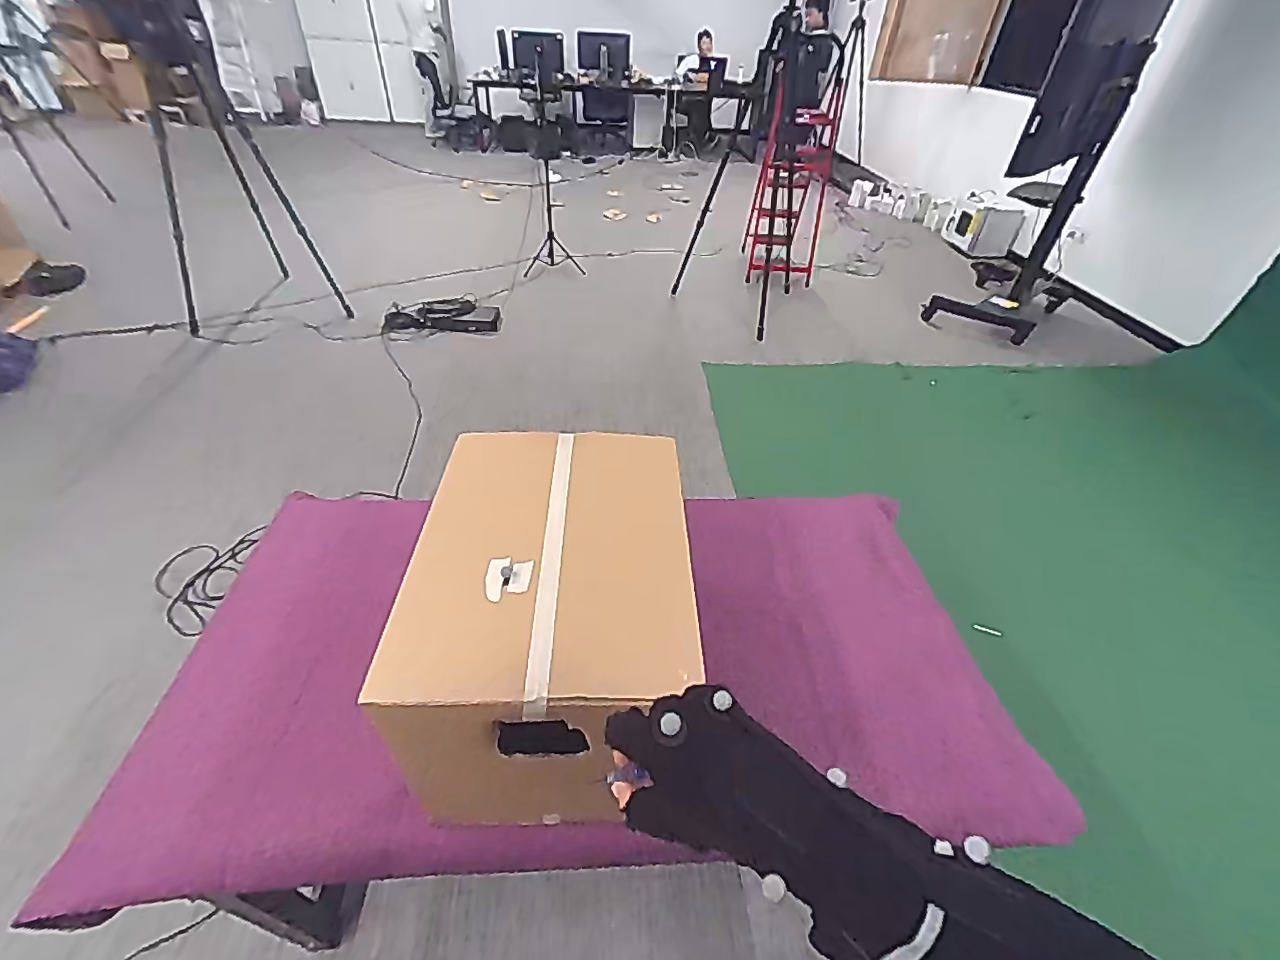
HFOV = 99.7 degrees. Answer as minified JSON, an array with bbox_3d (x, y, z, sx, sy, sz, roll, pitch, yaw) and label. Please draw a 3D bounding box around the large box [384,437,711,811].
[{"bbox_3d":[-0.102,0.185,0.747,0.320,0.320,0.408,1,42,-3],"label":"large box"}]
